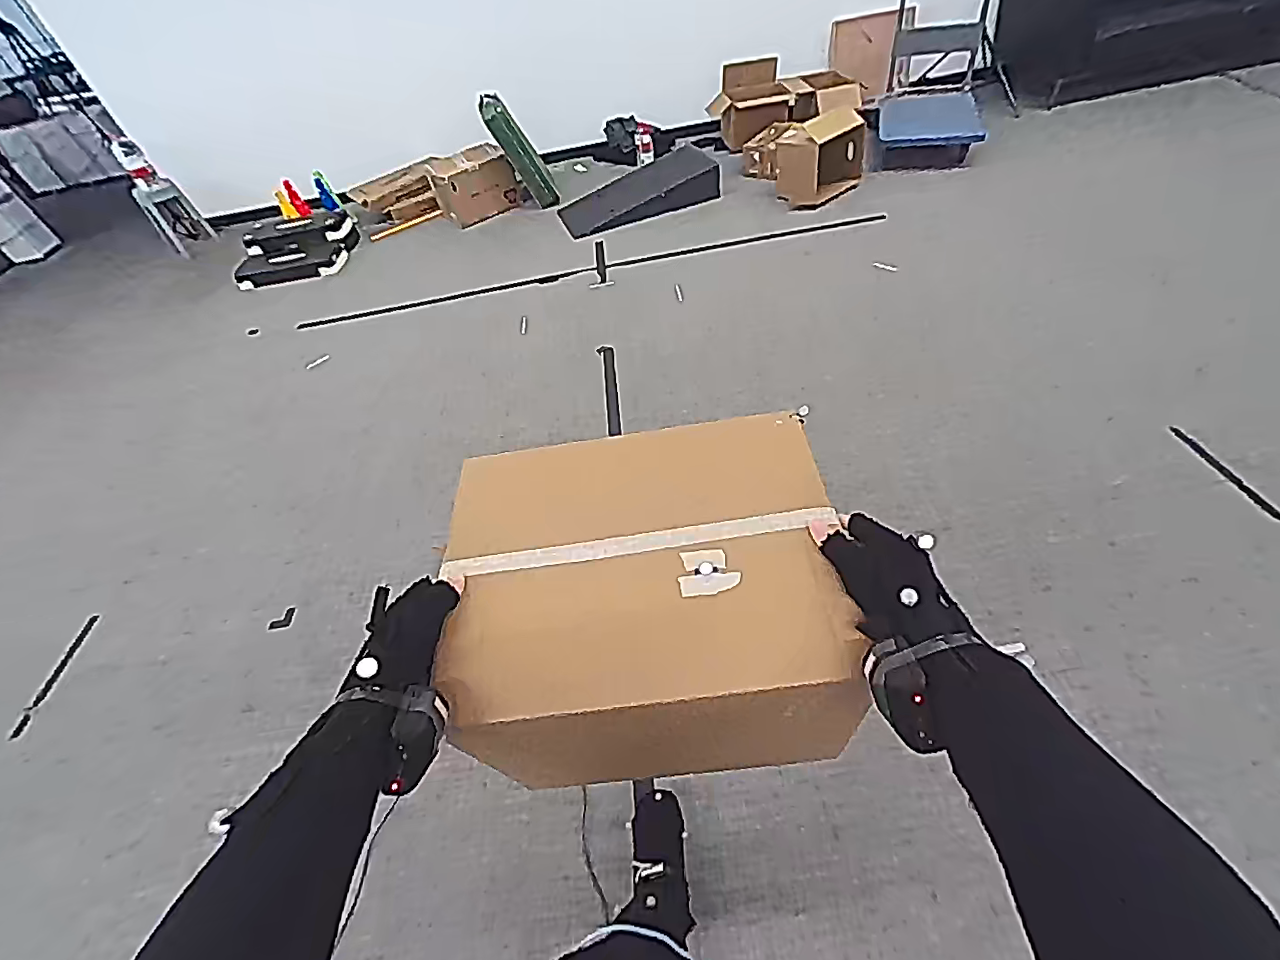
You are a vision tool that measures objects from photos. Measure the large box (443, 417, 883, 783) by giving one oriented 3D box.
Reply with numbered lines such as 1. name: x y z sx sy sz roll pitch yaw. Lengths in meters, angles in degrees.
1. large box: 0.022 0.162 0.683 0.408 0.320 0.320 -8 51 3
